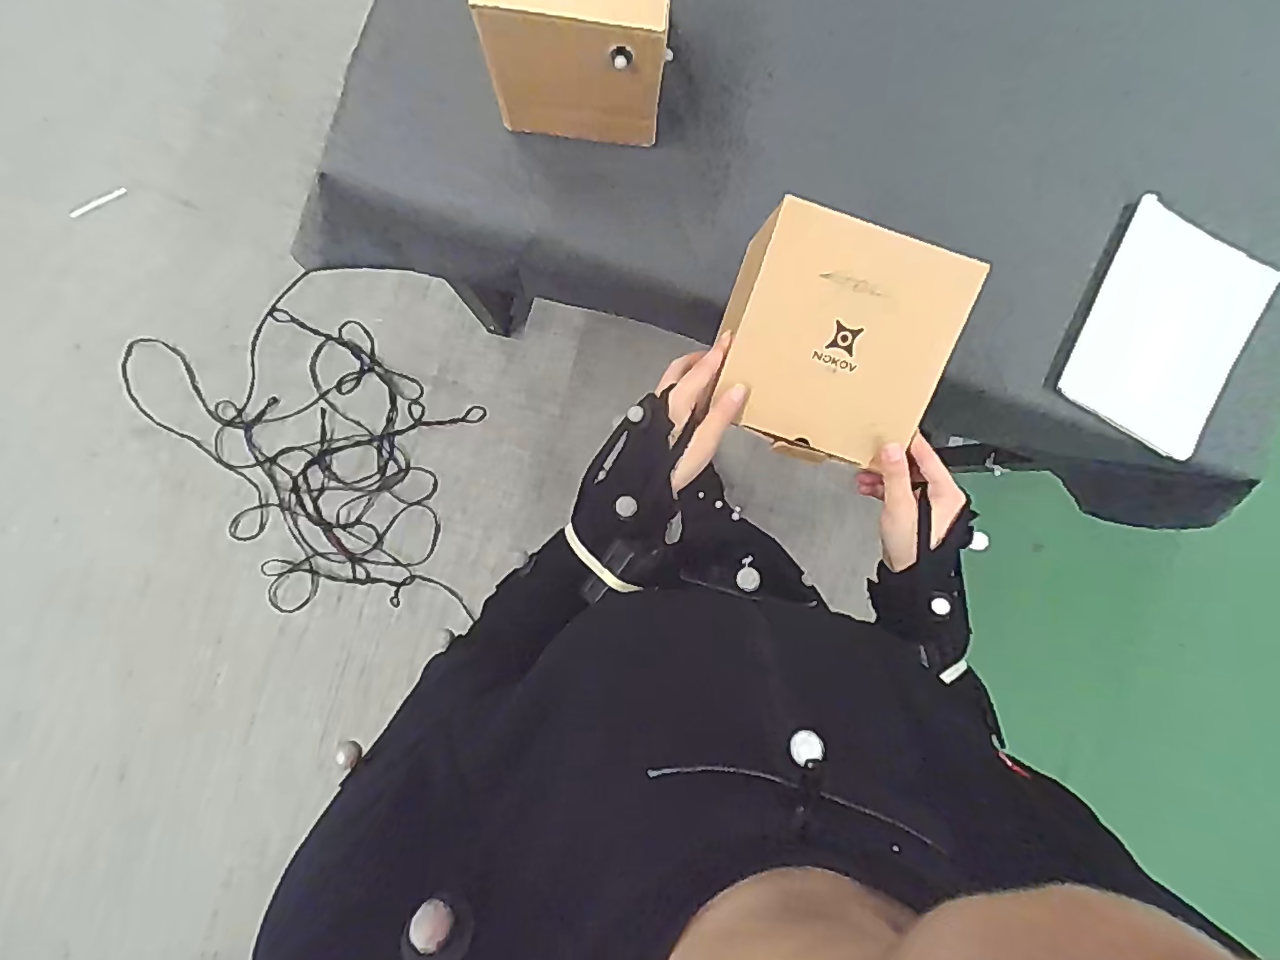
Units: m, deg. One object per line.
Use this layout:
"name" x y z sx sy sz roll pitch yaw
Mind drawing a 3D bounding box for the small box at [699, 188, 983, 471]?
"small box" 0.158 -0.128 0.497 0.168 0.176 0.179 17 102 -2

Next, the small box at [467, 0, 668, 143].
"small box" -0.062 -0.478 0.550 0.179 0.176 0.168 4 89 -4
